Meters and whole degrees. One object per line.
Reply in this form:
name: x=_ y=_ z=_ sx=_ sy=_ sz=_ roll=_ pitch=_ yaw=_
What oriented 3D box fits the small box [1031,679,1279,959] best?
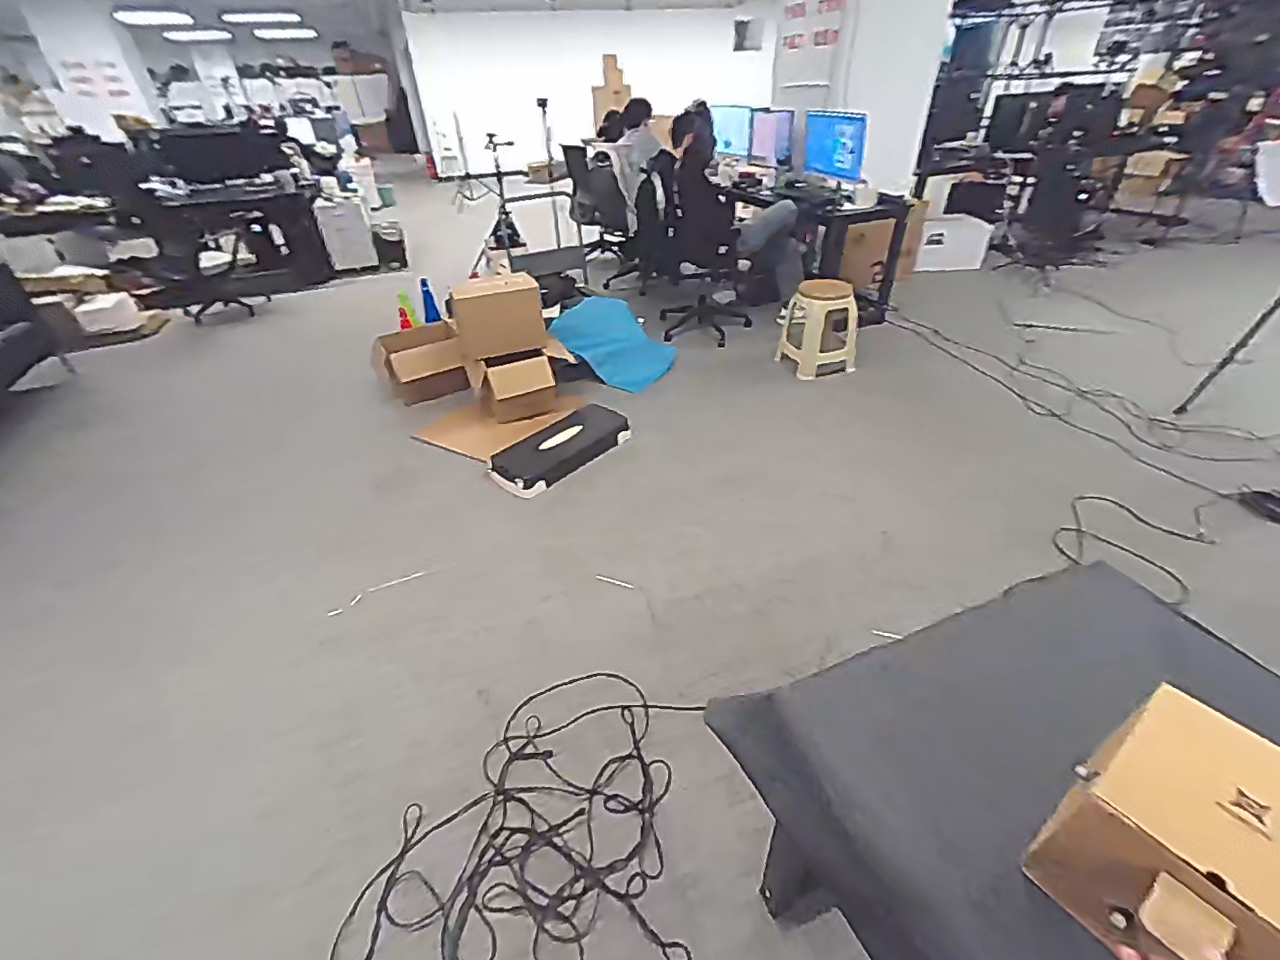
small box: x=0.505 y=0.330 z=0.496 sx=0.179 sy=0.176 sz=0.168 roll=-26 pitch=43 yaw=-27
